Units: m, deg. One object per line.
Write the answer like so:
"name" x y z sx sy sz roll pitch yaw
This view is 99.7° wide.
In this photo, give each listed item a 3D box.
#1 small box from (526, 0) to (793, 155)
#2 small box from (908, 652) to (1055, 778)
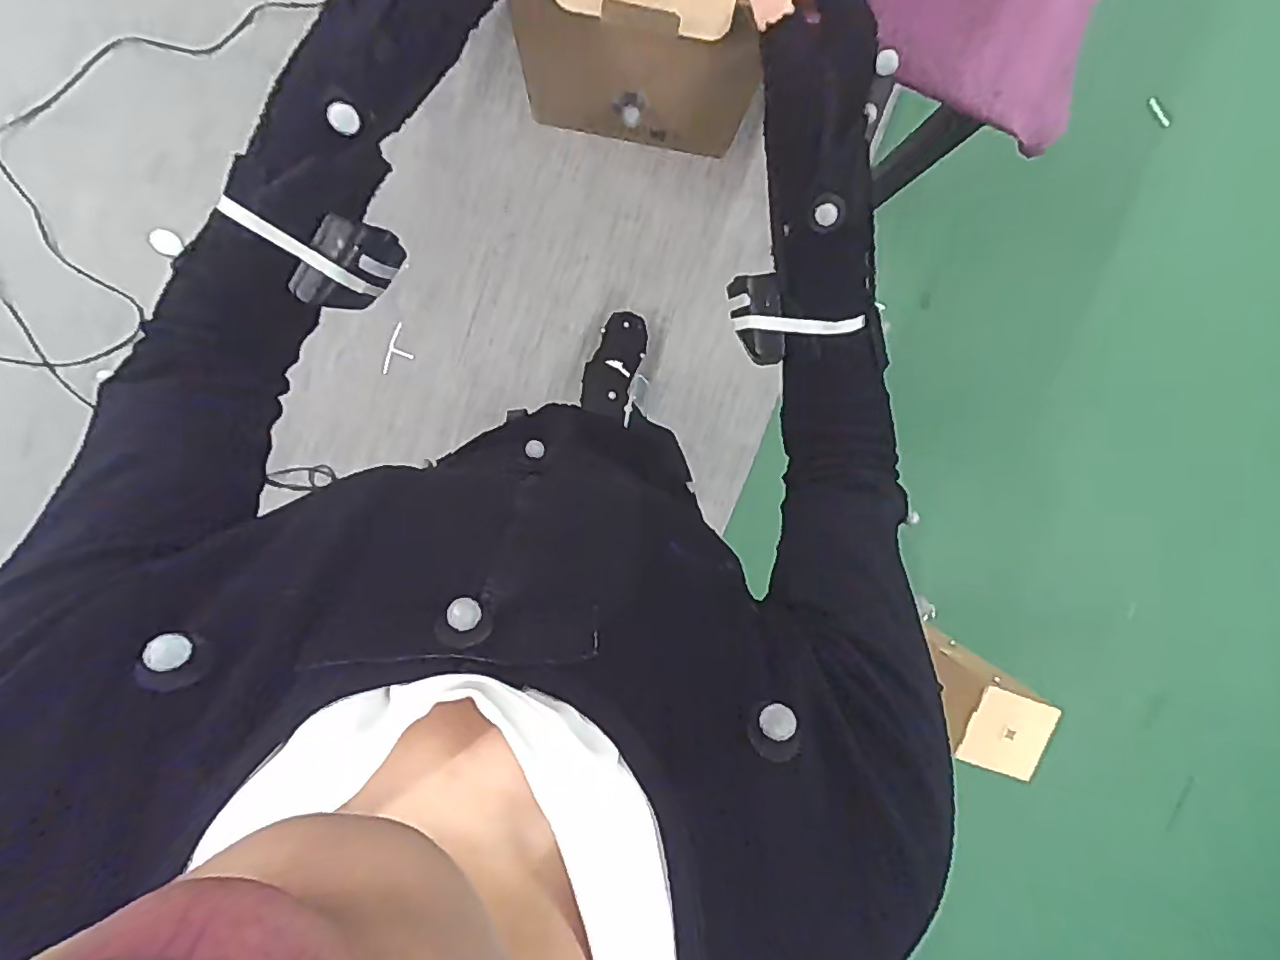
"small box" 0.015 -0.368 0.373 0.168 0.176 0.179 9 95 -4
"small box" 0.727 0.498 1.170 0.179 0.176 0.168 20 96 -6
